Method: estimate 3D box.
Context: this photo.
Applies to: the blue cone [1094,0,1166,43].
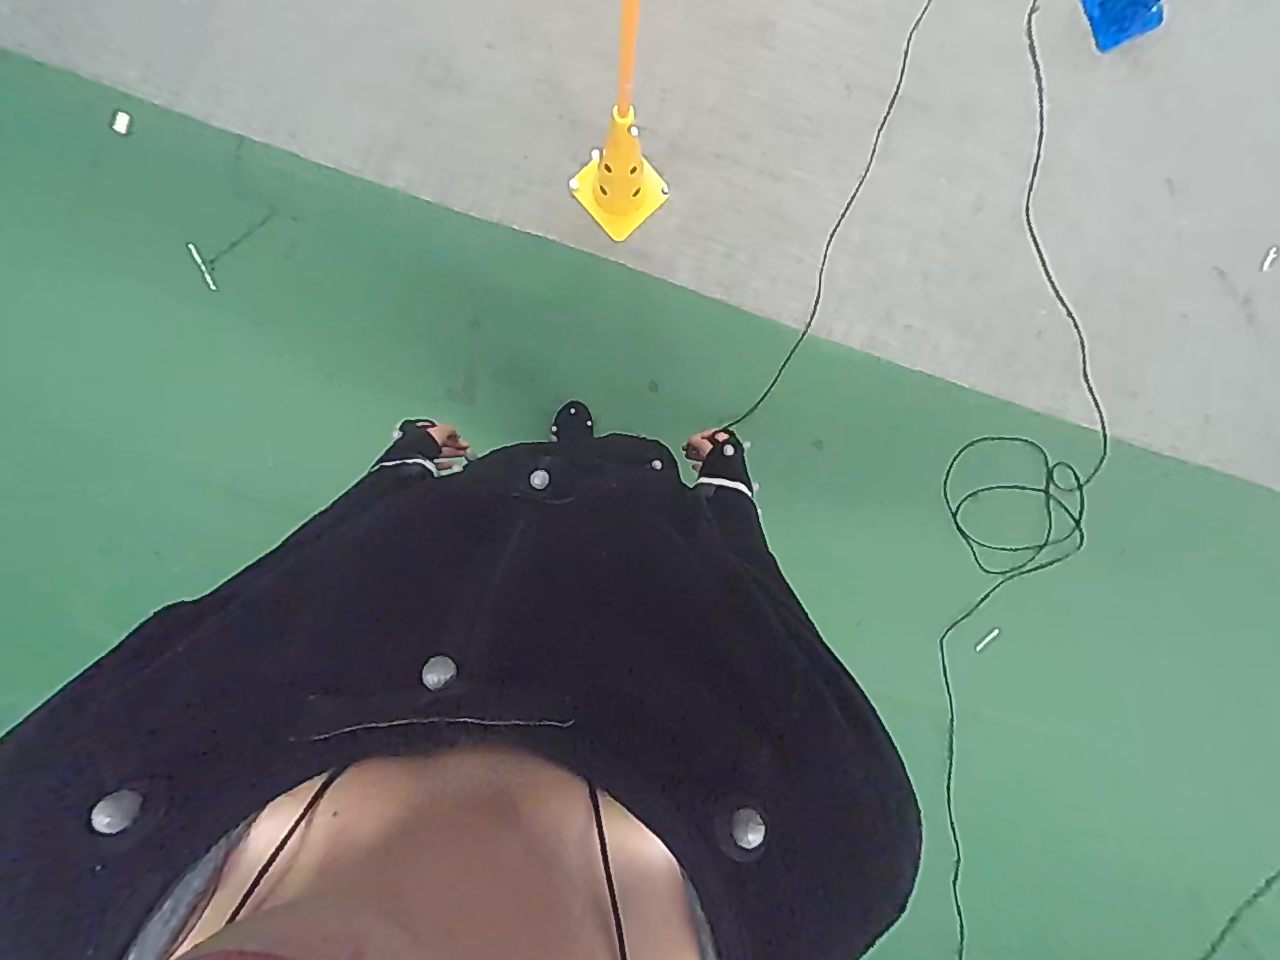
[{"bbox_3d":[1.303,-1.267,1.264,0.193,0.380,0.192,-28,96,-3],"label":"blue cone"}]
